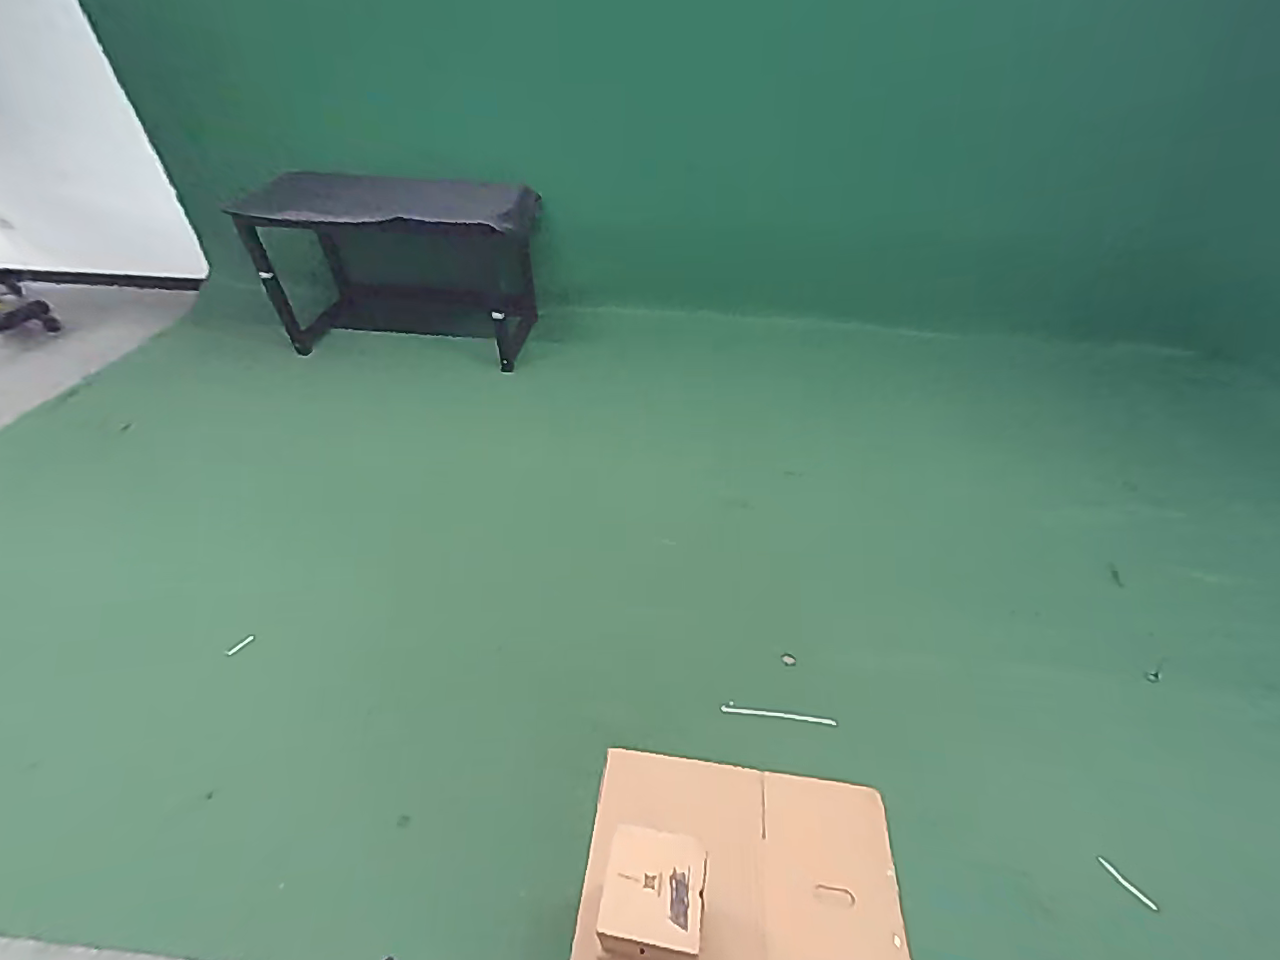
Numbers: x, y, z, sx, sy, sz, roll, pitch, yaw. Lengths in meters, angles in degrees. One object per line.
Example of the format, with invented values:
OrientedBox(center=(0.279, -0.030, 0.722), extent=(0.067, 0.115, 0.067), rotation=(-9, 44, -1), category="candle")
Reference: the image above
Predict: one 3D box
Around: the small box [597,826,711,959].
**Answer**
OrientedBox(center=(0.030, 0.767, 0.989), extent=(0.179, 0.176, 0.168), rotation=(6, 42, 9), category="small box")
